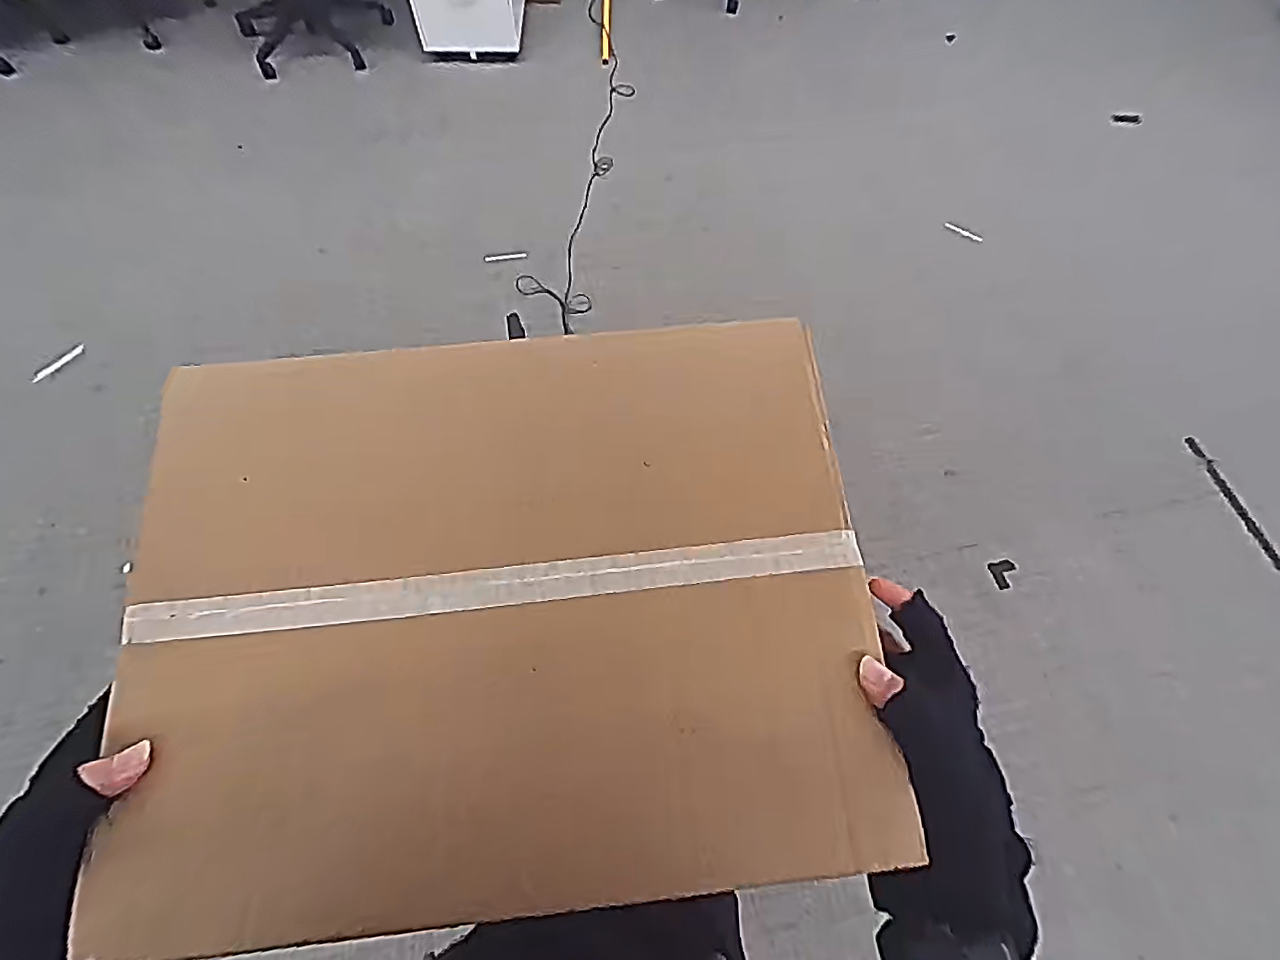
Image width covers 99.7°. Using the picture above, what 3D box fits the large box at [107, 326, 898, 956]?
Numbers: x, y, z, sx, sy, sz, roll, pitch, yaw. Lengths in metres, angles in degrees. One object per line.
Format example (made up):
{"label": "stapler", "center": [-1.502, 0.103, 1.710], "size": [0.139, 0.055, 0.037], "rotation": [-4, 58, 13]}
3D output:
{"label": "large box", "center": [-0.079, 0.105, 0.453], "size": [0.408, 0.320, 0.320], "rotation": [-6, 72, -2]}
